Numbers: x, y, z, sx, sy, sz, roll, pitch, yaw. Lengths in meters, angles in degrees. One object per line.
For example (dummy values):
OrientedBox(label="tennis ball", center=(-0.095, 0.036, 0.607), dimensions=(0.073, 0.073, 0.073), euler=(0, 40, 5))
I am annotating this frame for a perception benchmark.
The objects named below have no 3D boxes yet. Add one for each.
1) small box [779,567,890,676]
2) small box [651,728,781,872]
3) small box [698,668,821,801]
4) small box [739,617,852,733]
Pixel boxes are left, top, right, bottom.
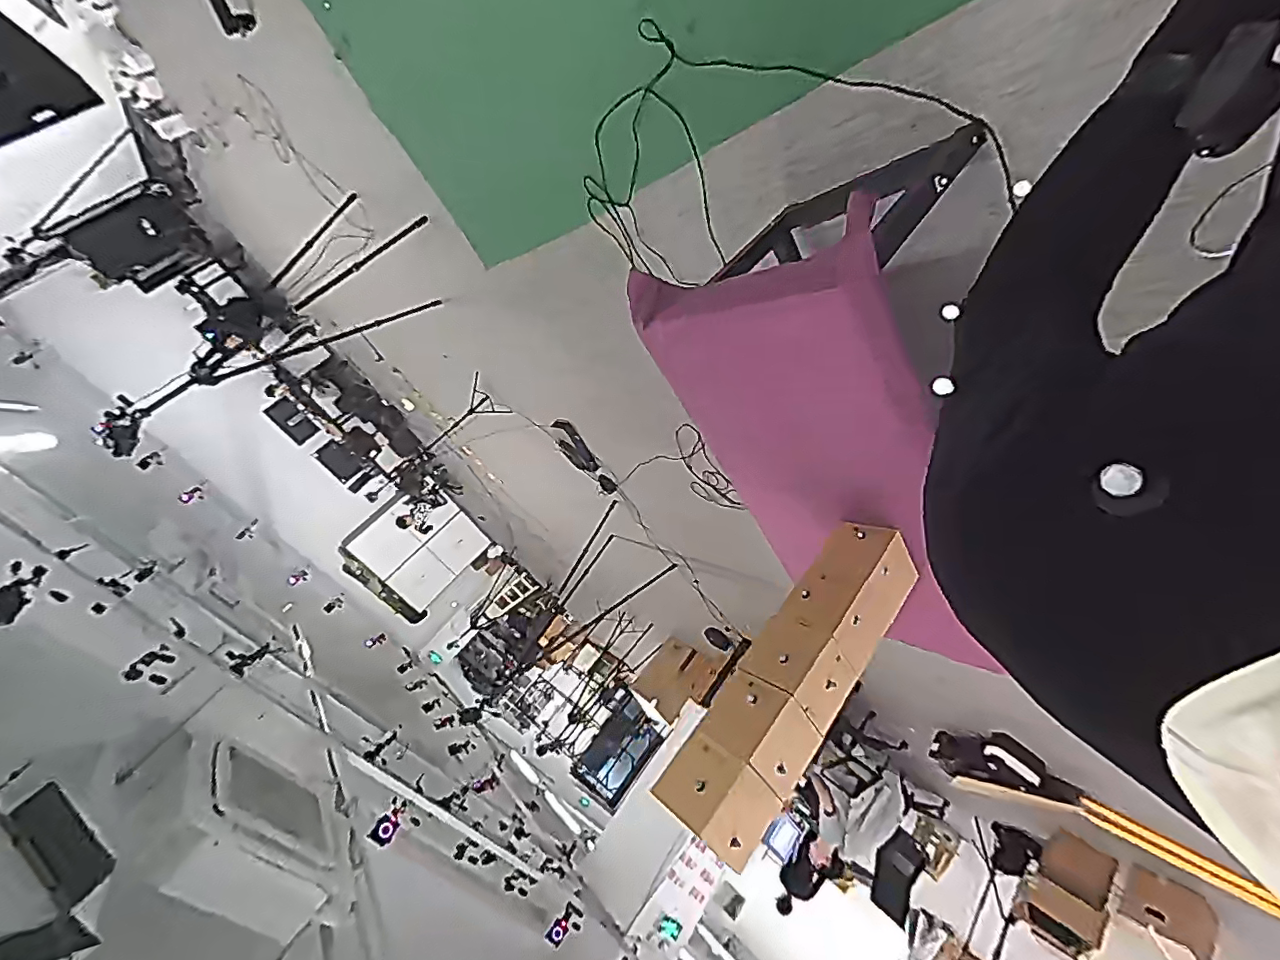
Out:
OrientedBox(label="small box", center=(0.479, 0.338, 1.327), dimensions=(0.168, 0.176, 0.179), euler=(8, 139, 54))
OrientedBox(label="small box", center=(0.164, 0.663, 1.142), dimensions=(0.168, 0.176, 0.179), euler=(6, 138, 55))
OrientedBox(label="small box", center=(0.271, 0.557, 1.203), dimensions=(0.168, 0.176, 0.179), euler=(7, 137, 56))
OrientedBox(label="small box", center=(0.373, 0.448, 1.270), dimensions=(0.179, 0.176, 0.168), euler=(6, 137, 55))
